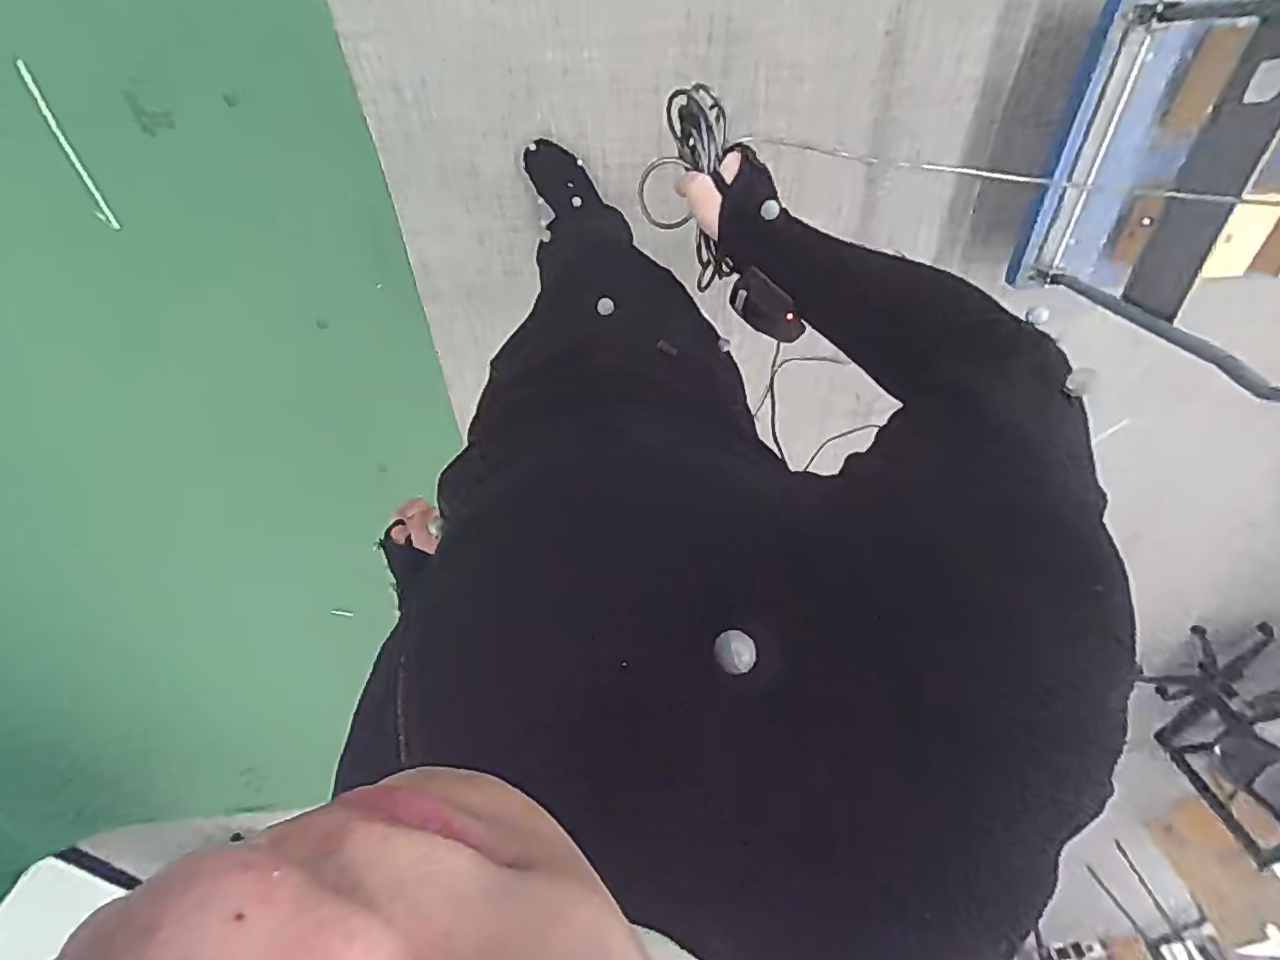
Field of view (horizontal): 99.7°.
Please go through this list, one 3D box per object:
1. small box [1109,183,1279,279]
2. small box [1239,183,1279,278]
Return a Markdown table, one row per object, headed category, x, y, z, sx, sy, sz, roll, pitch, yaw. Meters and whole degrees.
| category | x | y | z | sx | sy | sz | roll | pitch | yaw |
| --- | --- | --- | --- | --- | --- | --- | --- | --- | --- |
| small box | 1.233 | -0.563 | 1.216 | 0.179 | 0.176 | 0.168 | -2 | 127 | -2 |
| small box | 1.489 | -0.573 | 1.228 | 0.179 | 0.176 | 0.168 | -5 | 127 | 0 |
